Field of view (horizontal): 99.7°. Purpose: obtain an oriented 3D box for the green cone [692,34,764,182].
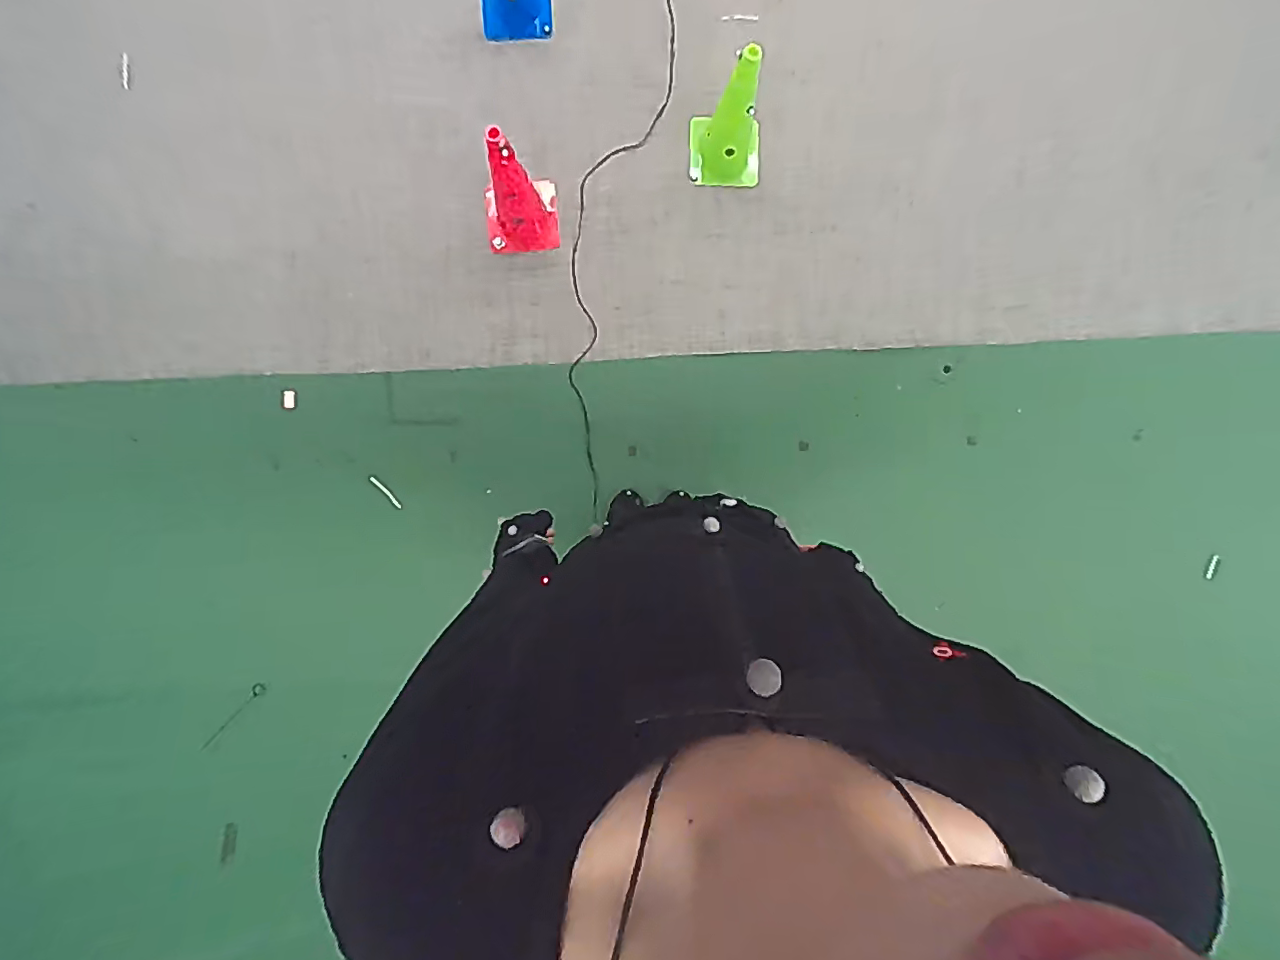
[{"bbox_3d":[0.256,-0.963,1.383,0.200,0.368,0.202,0,87,-2],"label":"green cone"}]
